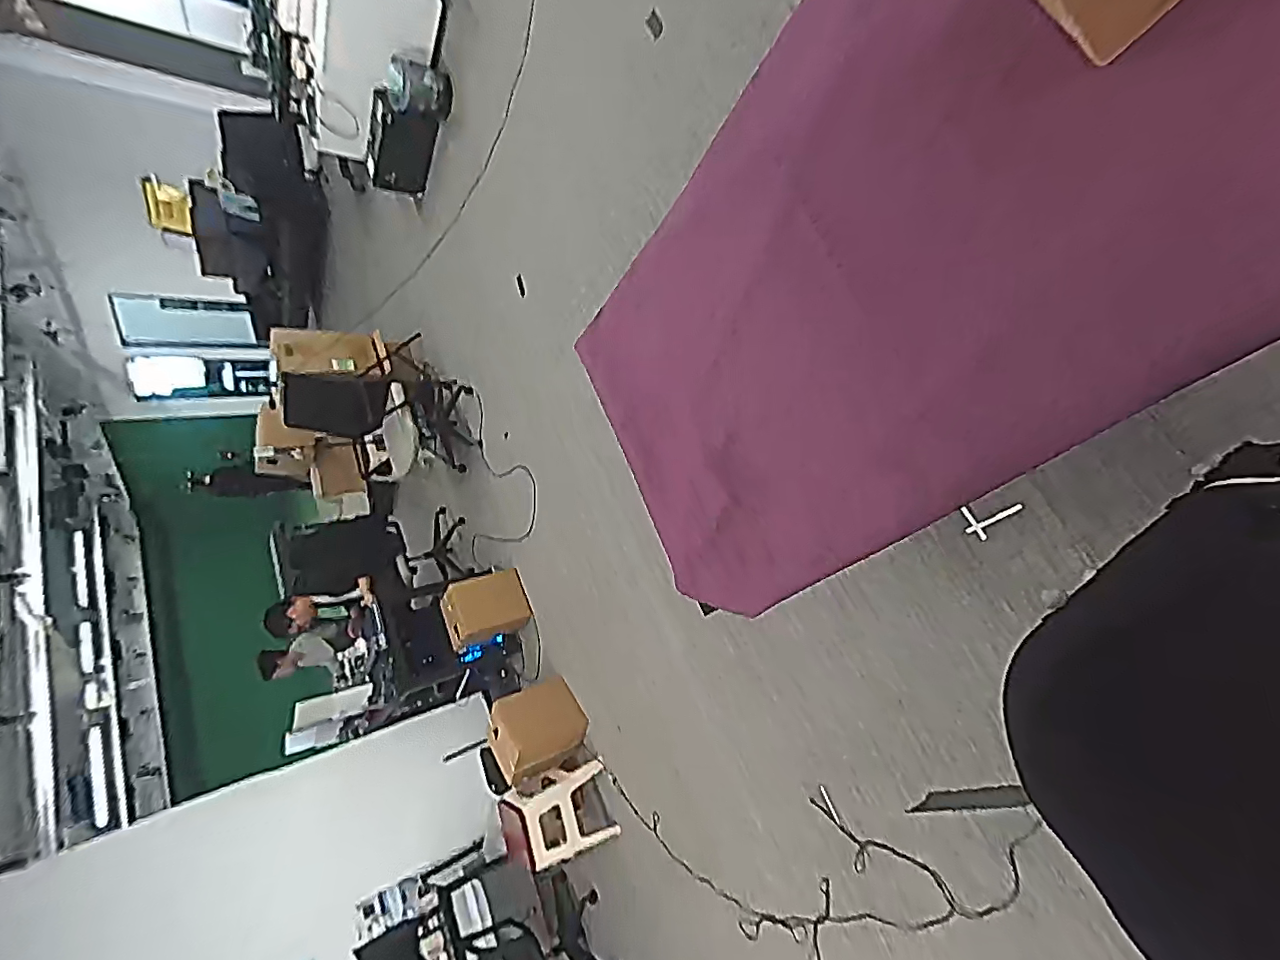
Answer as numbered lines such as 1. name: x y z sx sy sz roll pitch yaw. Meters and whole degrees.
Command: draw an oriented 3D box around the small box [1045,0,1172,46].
1. small box: 0.364 -0.478 0.400 0.168 0.176 0.179 -41 67 48
